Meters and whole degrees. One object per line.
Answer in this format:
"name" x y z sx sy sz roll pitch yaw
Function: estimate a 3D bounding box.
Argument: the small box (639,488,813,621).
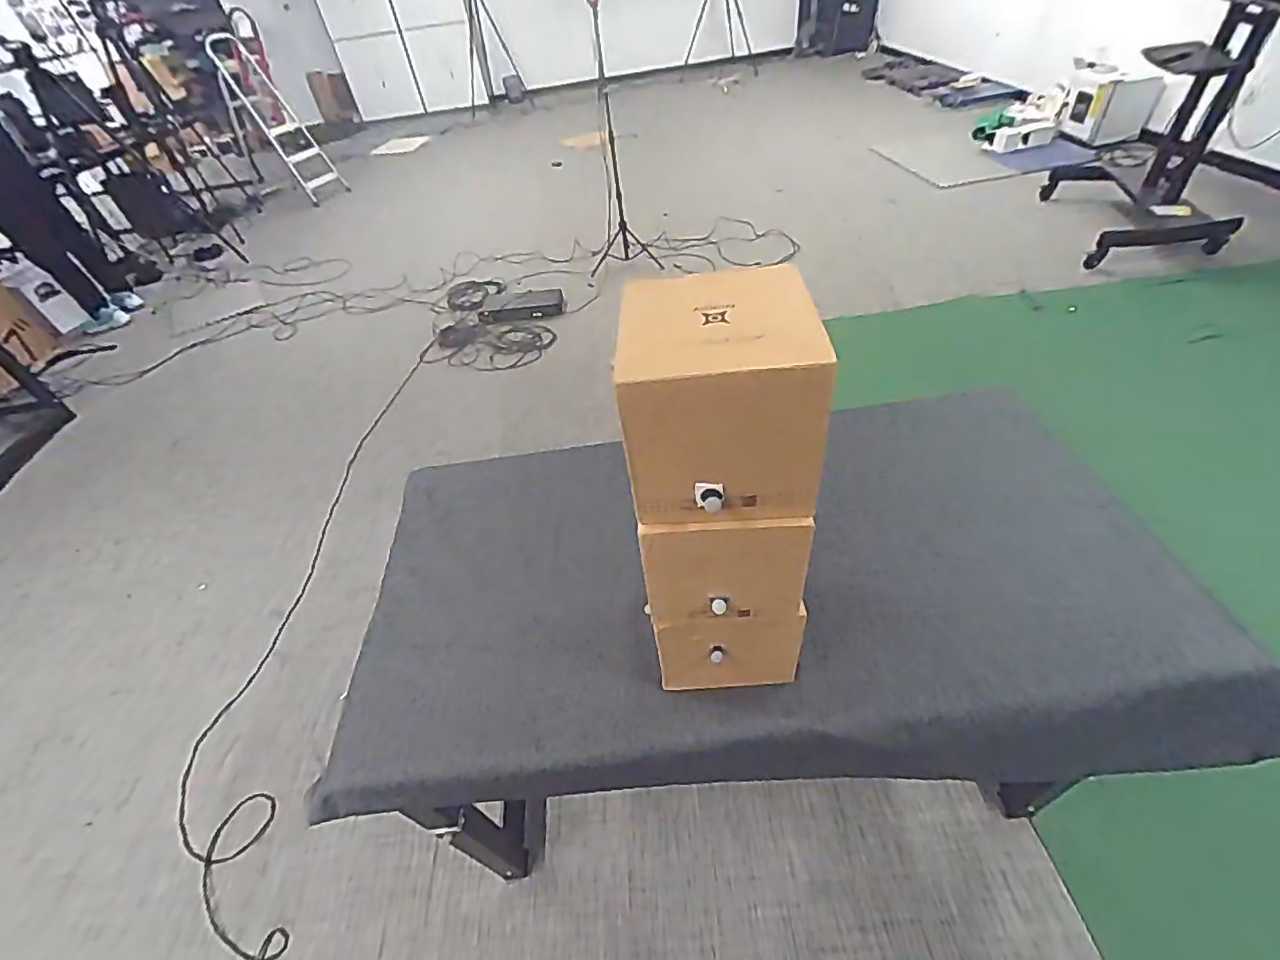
"small box" 0.091 0.040 0.619 0.168 0.176 0.179 -2 45 6

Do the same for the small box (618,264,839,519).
"small box" 0.076 -0.081 0.513 0.168 0.176 0.179 -4 45 6

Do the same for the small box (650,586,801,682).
"small box" 0.109 0.159 0.732 0.179 0.176 0.168 -5 44 4
